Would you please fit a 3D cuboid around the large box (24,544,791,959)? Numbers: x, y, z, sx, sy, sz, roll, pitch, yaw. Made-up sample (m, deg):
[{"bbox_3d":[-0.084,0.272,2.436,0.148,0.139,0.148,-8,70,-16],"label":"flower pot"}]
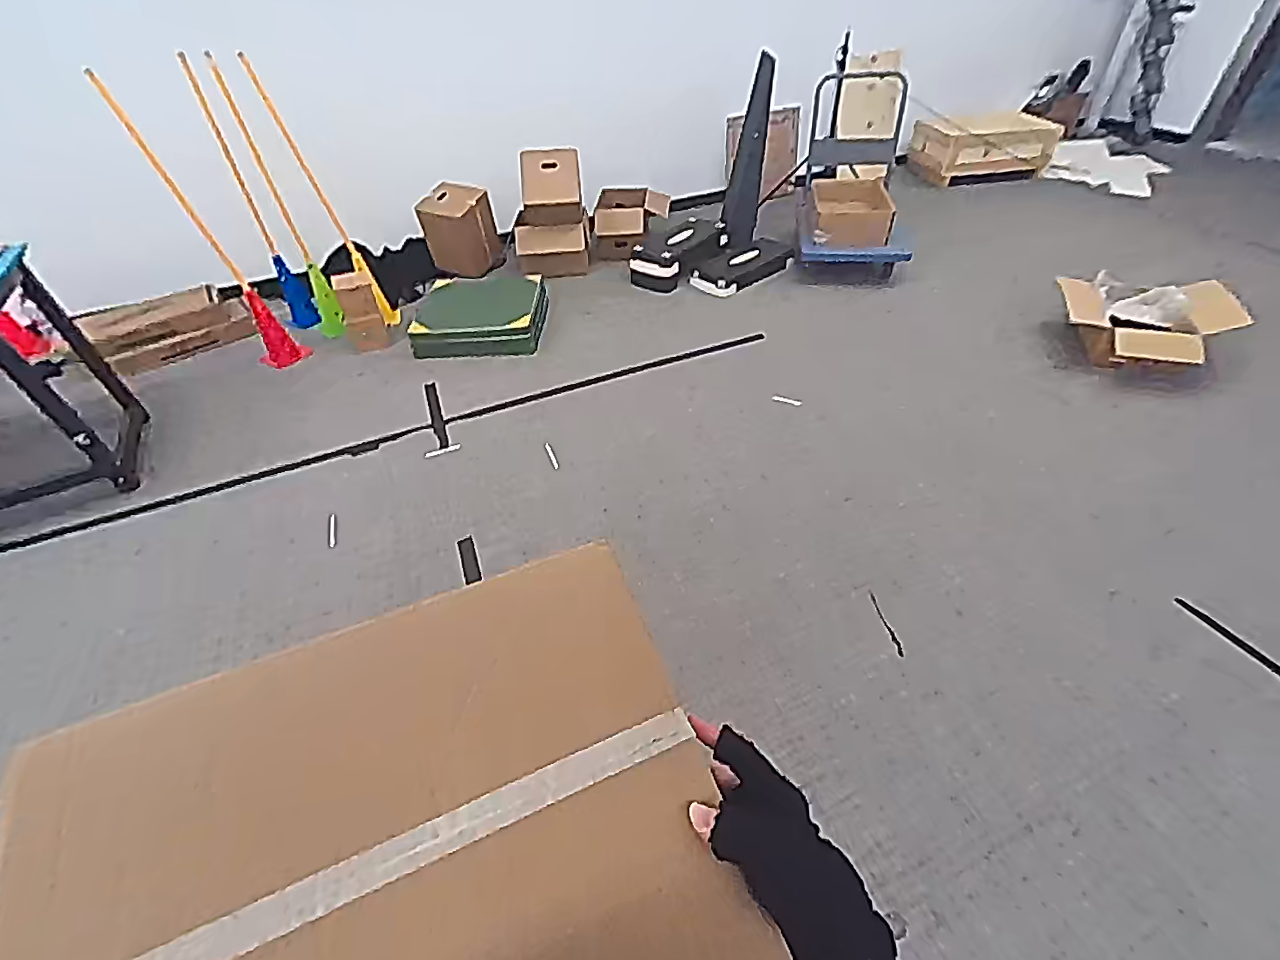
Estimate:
[{"bbox_3d":[-0.157,0.316,0.458,0.408,0.320,0.320,-18,60,-15],"label":"large box"}]
